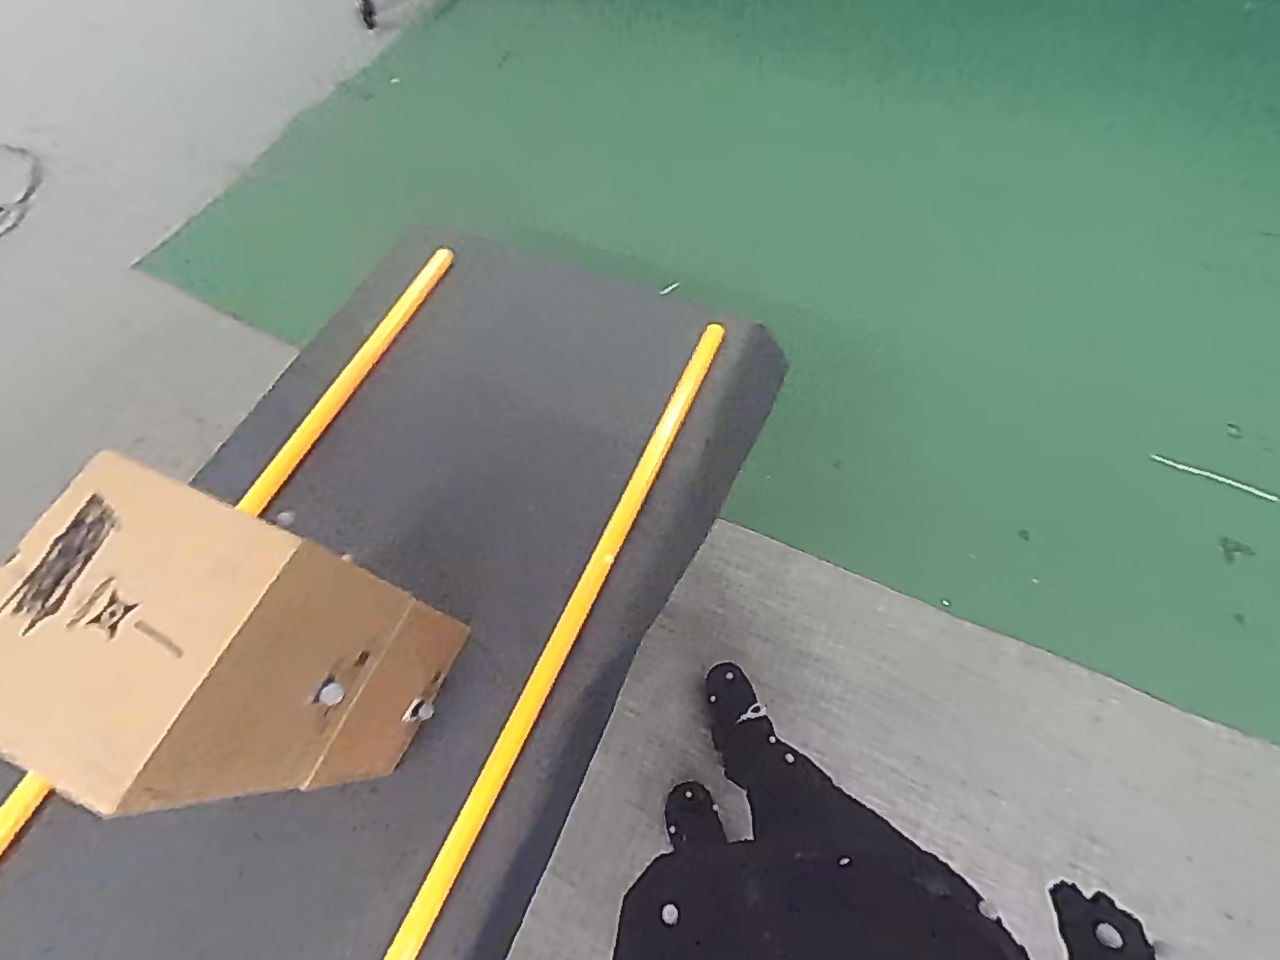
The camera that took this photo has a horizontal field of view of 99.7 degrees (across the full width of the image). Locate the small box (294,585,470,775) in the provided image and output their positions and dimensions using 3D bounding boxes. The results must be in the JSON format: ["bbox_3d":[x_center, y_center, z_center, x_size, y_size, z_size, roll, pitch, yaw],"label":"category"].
[{"bbox_3d":[-0.309,0.179,0.558,0.179,0.176,0.168,20,69,10],"label":"small box"}]

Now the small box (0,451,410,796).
[{"bbox_3d":[-0.318,0.109,0.409,0.179,0.176,0.168,21,69,11],"label":"small box"}]
